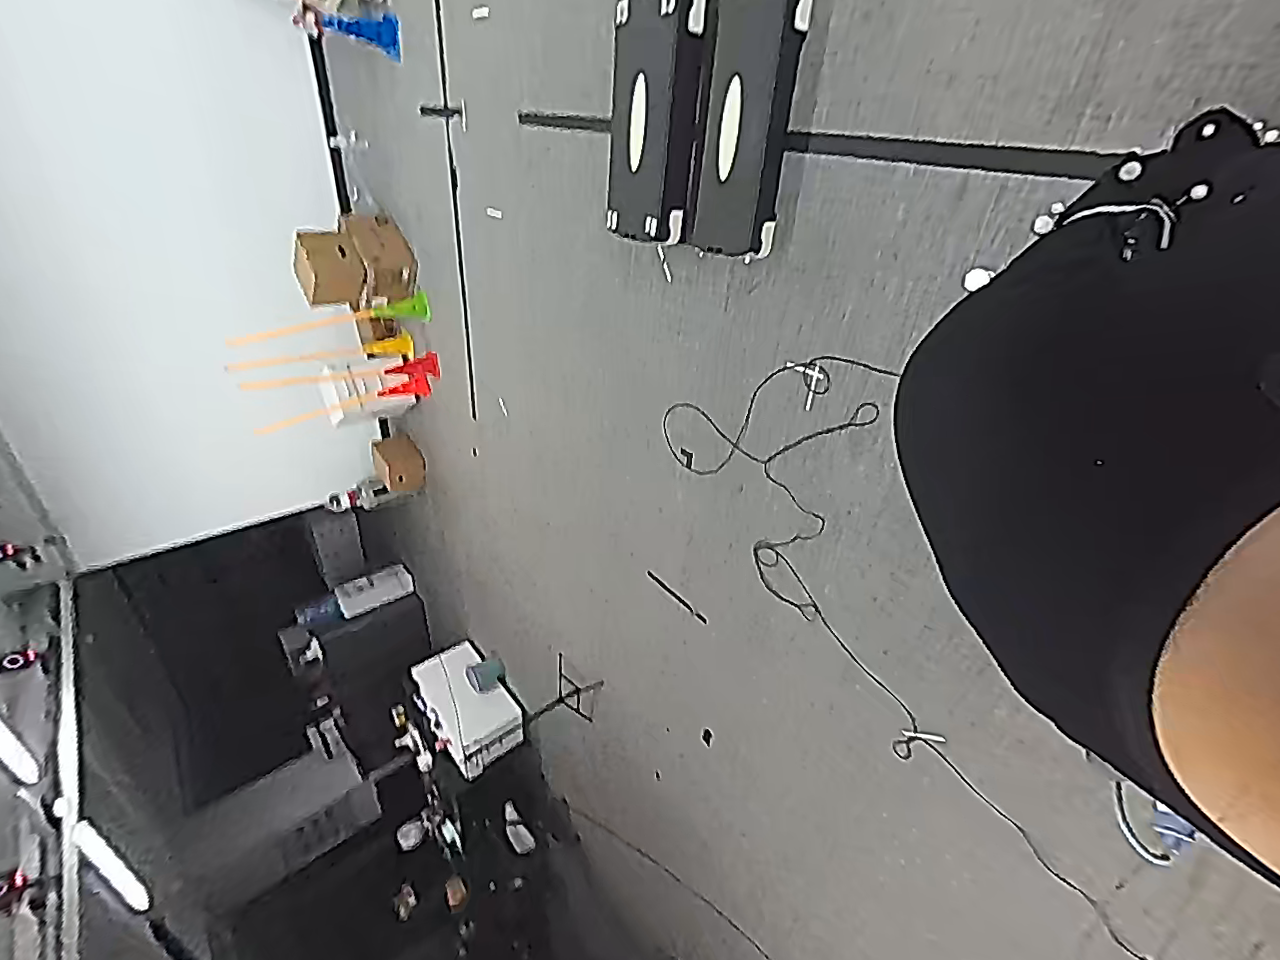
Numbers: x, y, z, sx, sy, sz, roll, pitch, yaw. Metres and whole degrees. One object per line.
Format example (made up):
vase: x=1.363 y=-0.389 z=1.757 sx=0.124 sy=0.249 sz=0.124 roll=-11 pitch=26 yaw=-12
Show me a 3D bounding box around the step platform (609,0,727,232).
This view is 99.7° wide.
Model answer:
step platform: x=0.069 y=-1.166 z=1.713 sx=0.286 sy=0.204 sz=0.684 roll=32 pitch=129 yaw=39
